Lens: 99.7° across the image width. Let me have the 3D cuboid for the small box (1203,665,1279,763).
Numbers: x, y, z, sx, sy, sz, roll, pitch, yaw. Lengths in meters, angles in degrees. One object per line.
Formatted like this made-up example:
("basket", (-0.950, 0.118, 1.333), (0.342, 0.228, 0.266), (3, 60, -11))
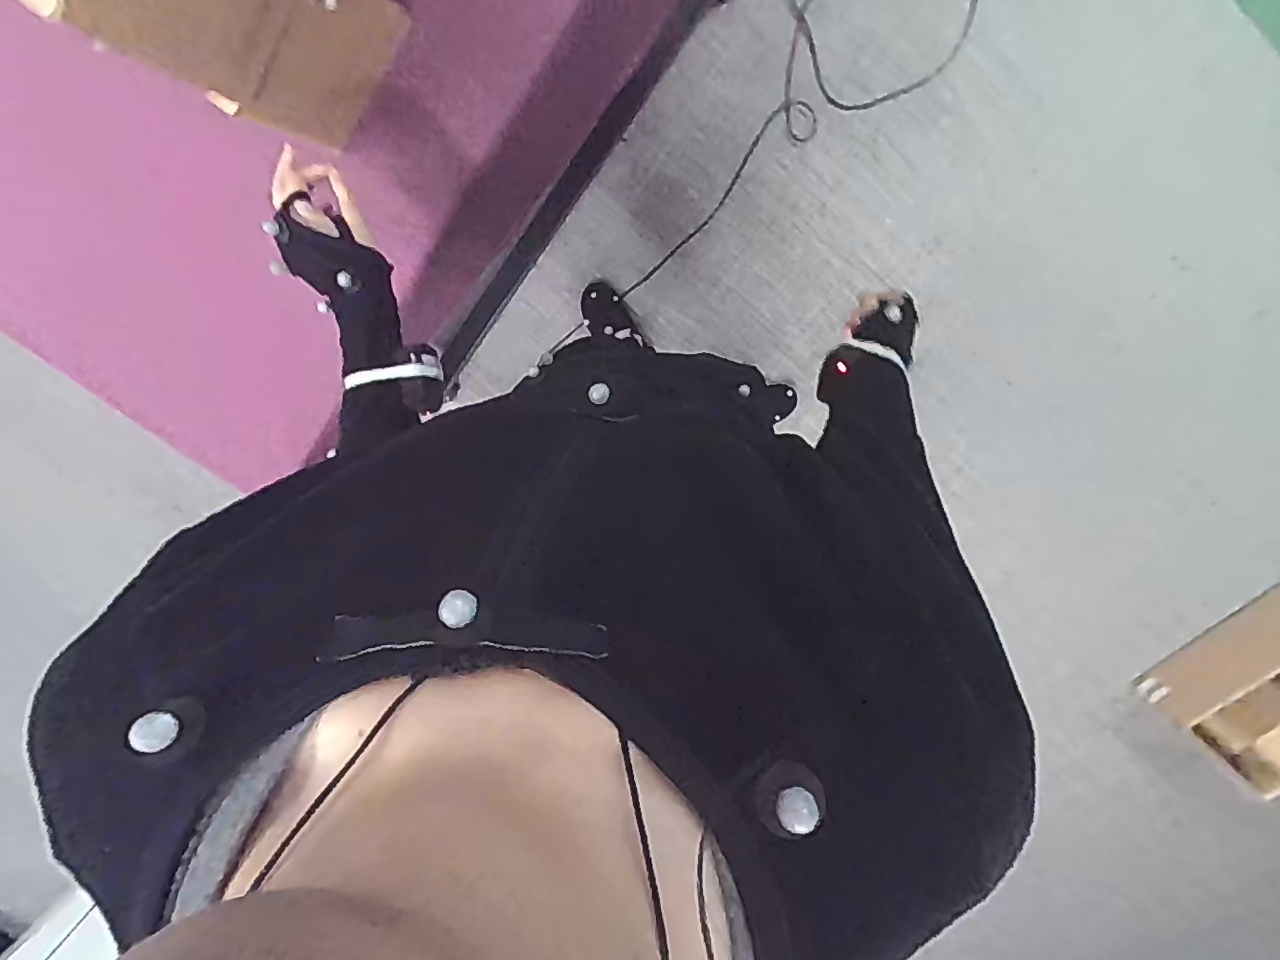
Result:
("small box", (1.788, 0.665, 1.532), (0.179, 0.176, 0.168), (39, 106, -9))

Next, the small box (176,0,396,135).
("small box", (-0.380, -0.489, 0.535), (0.168, 0.176, 0.179), (38, 107, -9))

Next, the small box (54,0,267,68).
("small box", (-0.384, -0.440, 0.380), (0.179, 0.176, 0.168), (37, 106, -9))
